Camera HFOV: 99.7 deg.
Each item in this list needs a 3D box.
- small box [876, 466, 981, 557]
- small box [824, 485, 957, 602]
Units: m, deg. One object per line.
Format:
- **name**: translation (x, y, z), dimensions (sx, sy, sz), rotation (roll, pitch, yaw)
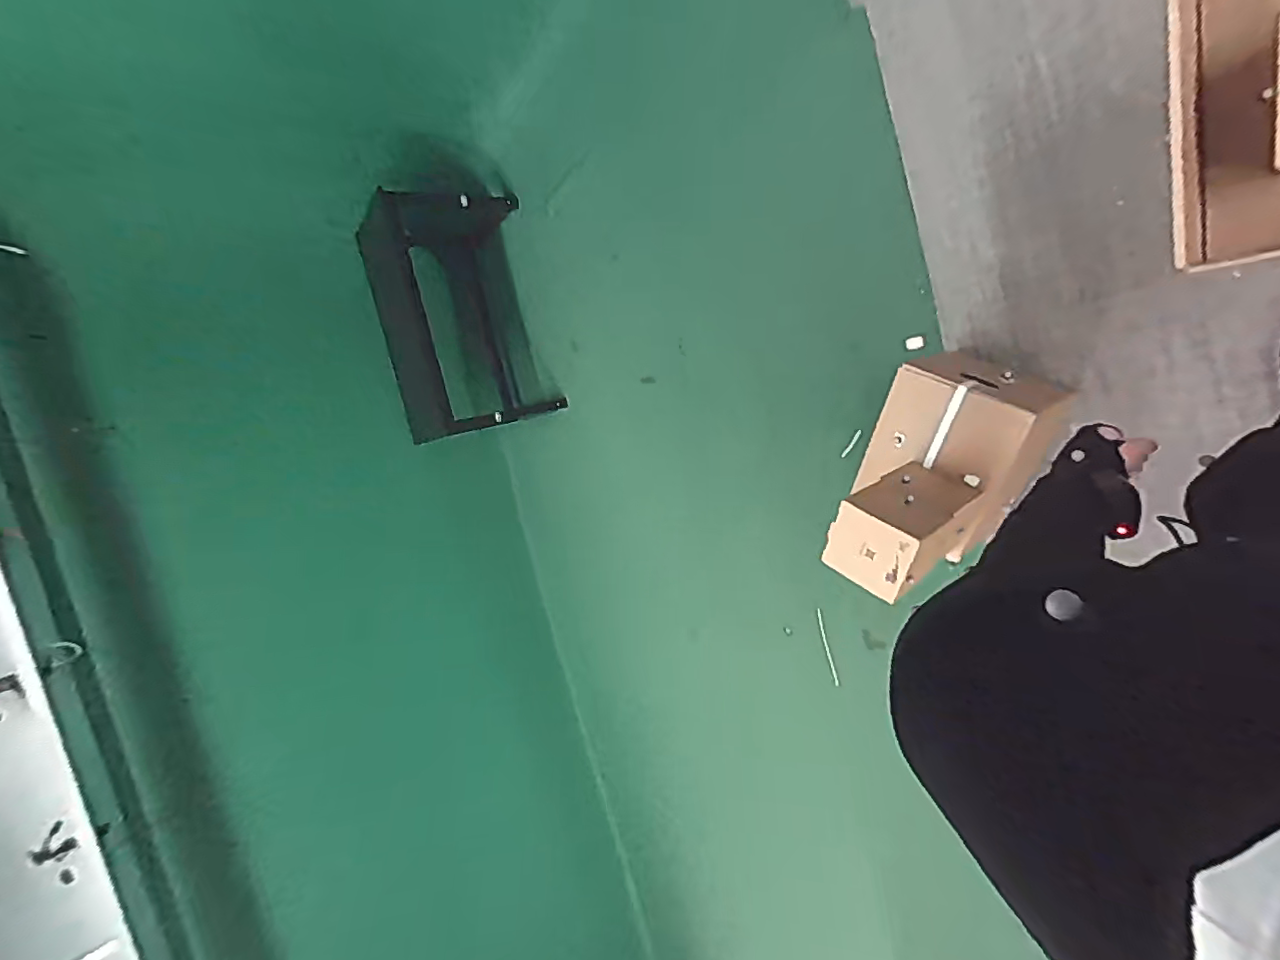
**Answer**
- **small box**: translation (0.657, 0.080, 1.274), dimensions (0.179, 0.176, 0.168), rotation (35, 130, 38)
- **small box**: translation (0.540, 0.126, 1.170), dimensions (0.179, 0.176, 0.168), rotation (35, 130, 39)
